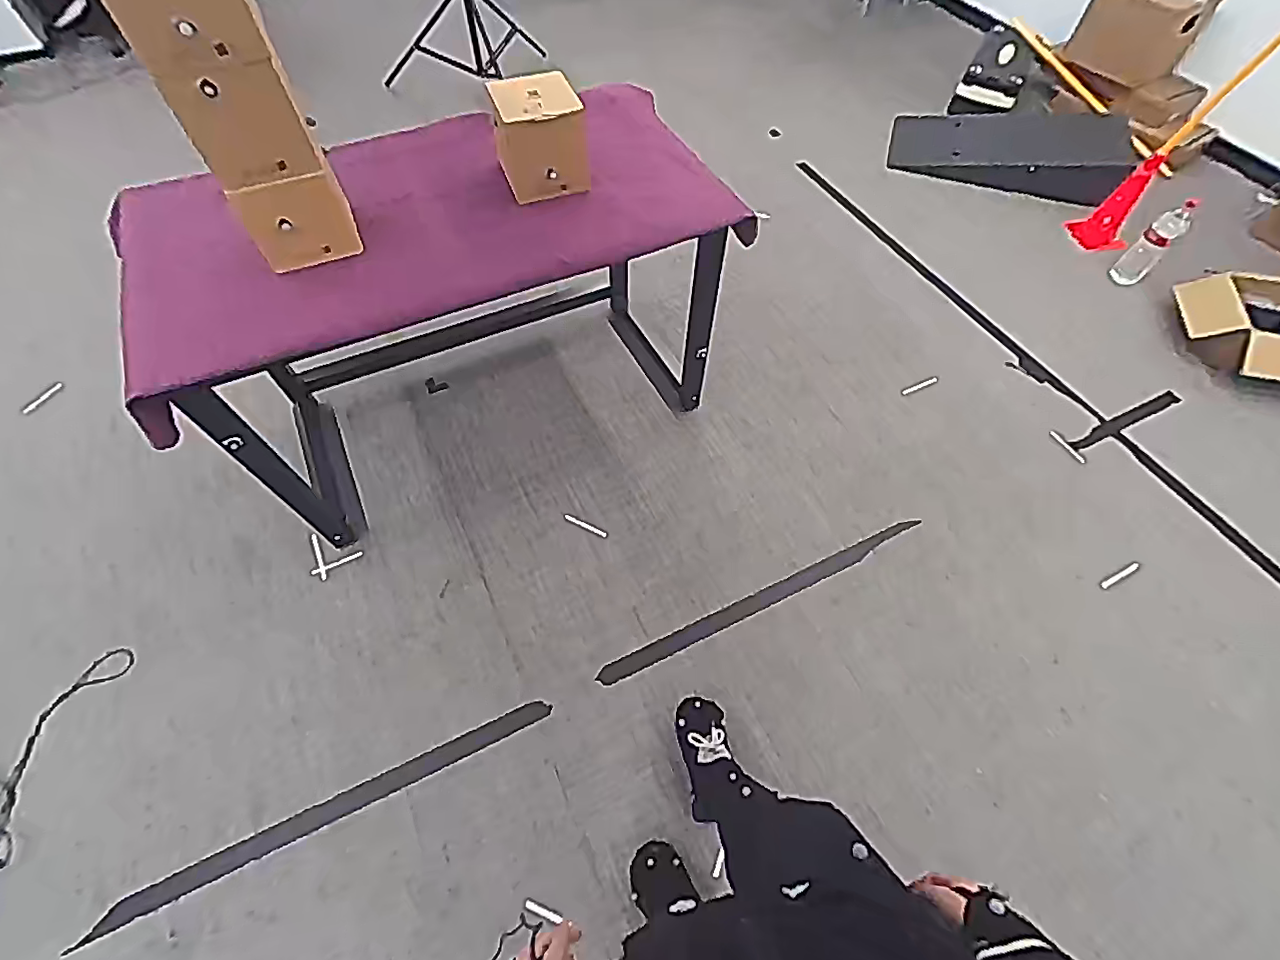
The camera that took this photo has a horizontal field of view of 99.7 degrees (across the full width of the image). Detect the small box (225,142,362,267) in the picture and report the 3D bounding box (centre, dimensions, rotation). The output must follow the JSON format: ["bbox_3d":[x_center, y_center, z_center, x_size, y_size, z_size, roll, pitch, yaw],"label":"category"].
[{"bbox_3d":[-0.660,-0.535,1.038,0.168,0.176,0.179,-22,62,-14],"label":"small box"}]

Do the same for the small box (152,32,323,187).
[{"bbox_3d":[-0.660,-0.623,0.900,0.168,0.176,0.179,-22,61,-14],"label":"small box"}]

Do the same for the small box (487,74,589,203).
[{"bbox_3d":[-0.216,-0.734,1.165,0.168,0.176,0.179,-18,61,-11],"label":"small box"}]

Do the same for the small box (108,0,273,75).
[{"bbox_3d":[-0.651,-0.708,0.758,0.168,0.176,0.179,-21,62,-14],"label":"small box"}]
